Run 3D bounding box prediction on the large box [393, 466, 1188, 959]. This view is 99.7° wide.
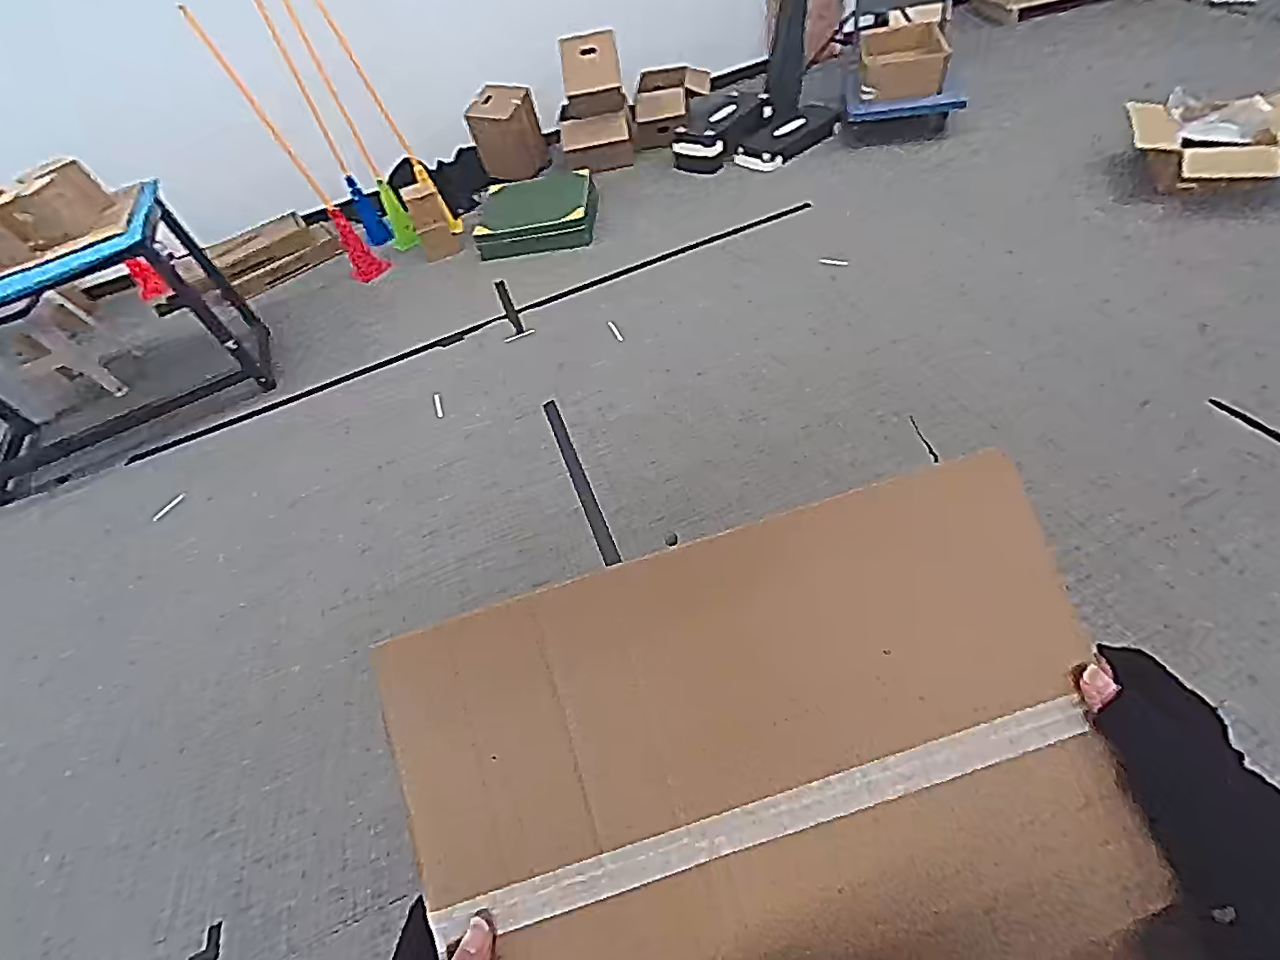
[{"bbox_3d":[0.083,0.214,0.467,0.408,0.320,0.320,-18,81,-2],"label":"large box"}]
